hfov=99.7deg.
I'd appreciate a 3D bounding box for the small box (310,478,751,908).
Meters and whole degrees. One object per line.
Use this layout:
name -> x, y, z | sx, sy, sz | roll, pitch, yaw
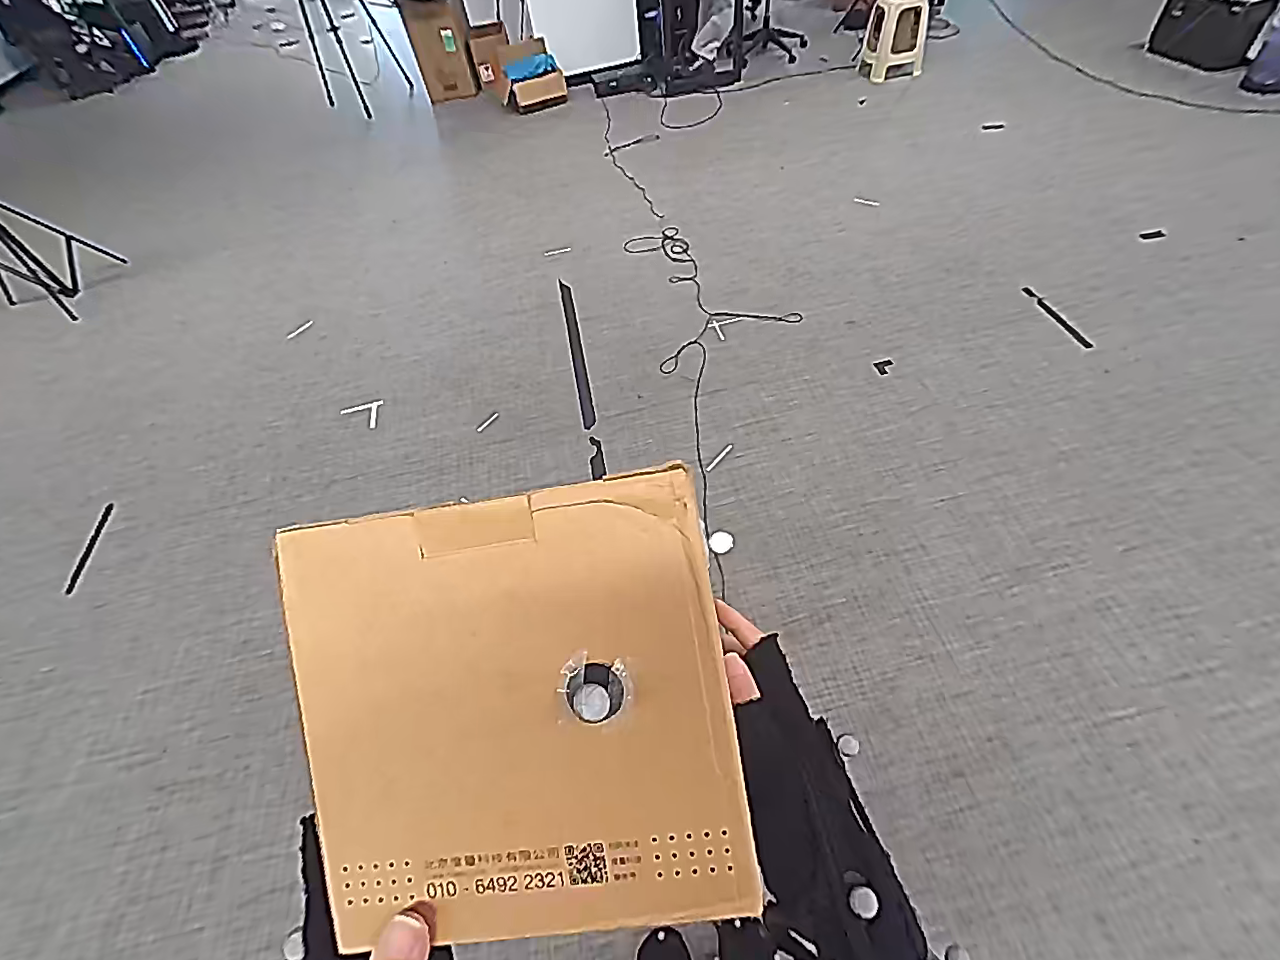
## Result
small box -> -0.037, 0.098, 0.301 | 0.168, 0.179, 0.176 | -9, 89, 7
